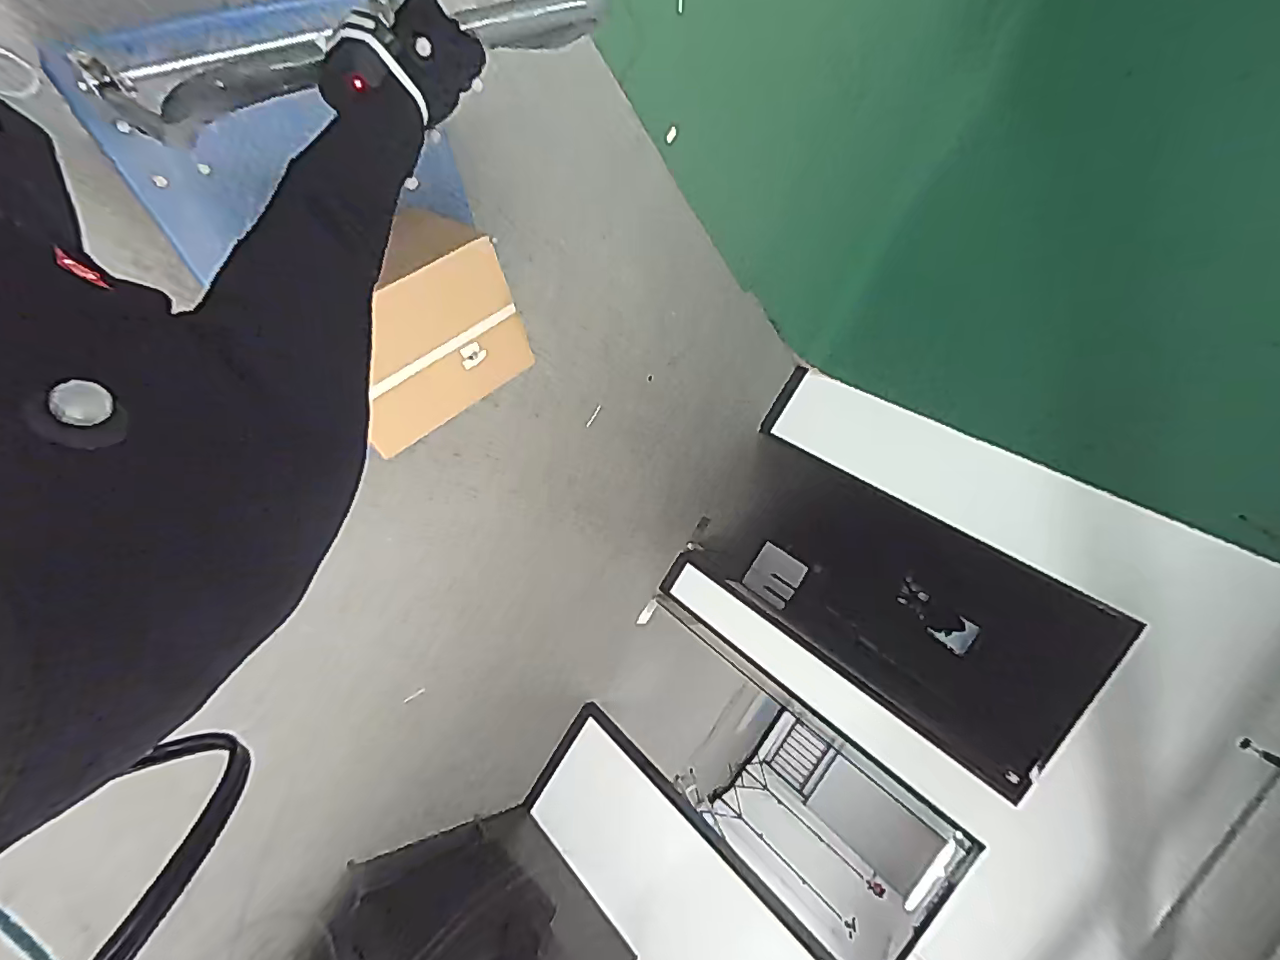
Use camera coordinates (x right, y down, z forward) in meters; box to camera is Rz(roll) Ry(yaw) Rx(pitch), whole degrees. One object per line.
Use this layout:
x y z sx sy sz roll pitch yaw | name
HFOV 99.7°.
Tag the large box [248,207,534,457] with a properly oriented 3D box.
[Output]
-0.514 -0.331 1.167 0.408 0.320 0.320 -41 145 -23 | large box
